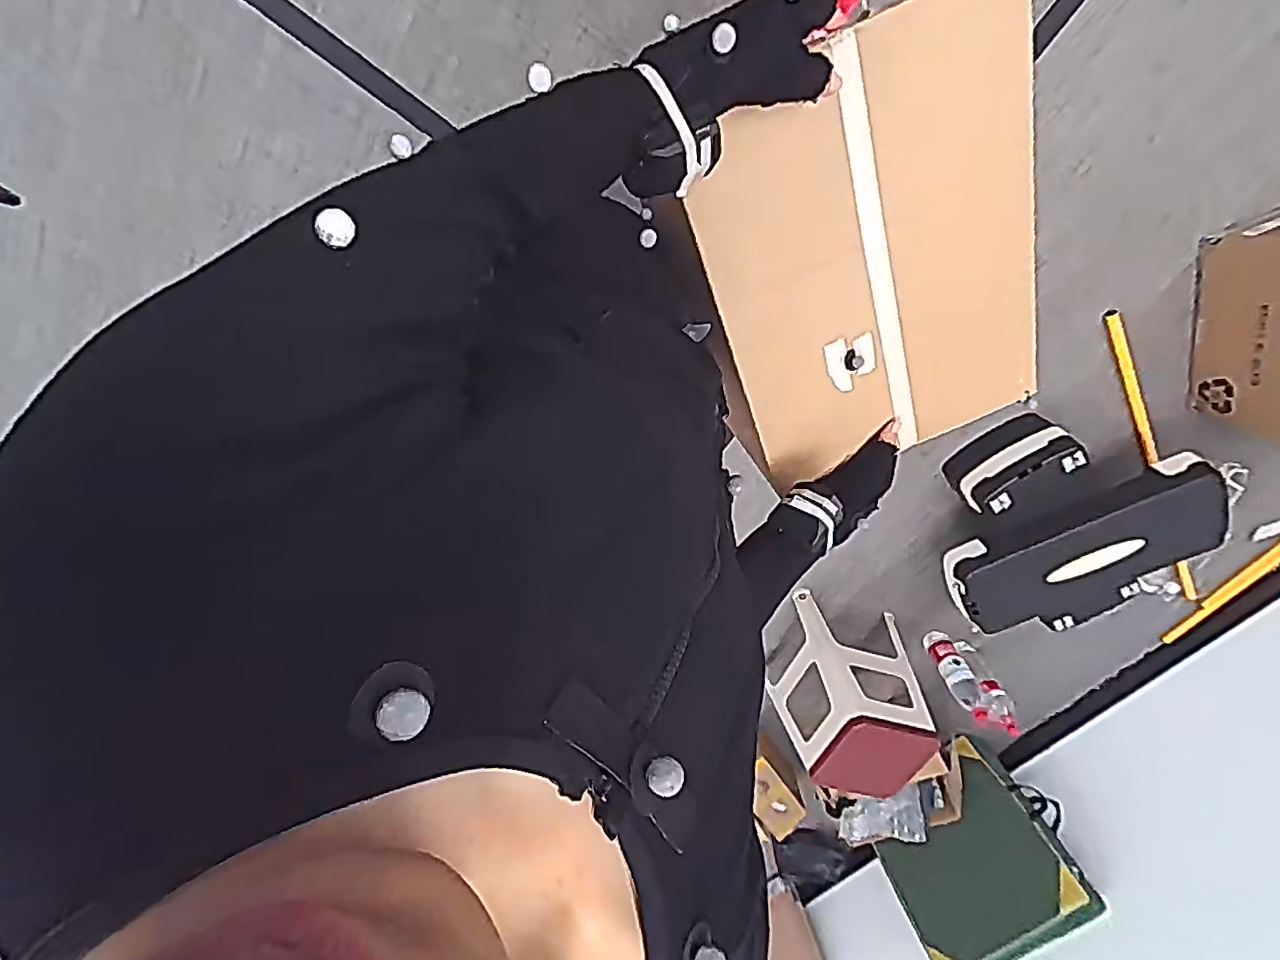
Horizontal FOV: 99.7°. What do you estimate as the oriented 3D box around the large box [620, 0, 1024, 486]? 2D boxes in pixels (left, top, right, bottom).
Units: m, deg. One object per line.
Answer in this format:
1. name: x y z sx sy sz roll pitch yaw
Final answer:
1. large box: 0.206 -0.277 0.661 0.320 0.320 0.408 -23 121 4
